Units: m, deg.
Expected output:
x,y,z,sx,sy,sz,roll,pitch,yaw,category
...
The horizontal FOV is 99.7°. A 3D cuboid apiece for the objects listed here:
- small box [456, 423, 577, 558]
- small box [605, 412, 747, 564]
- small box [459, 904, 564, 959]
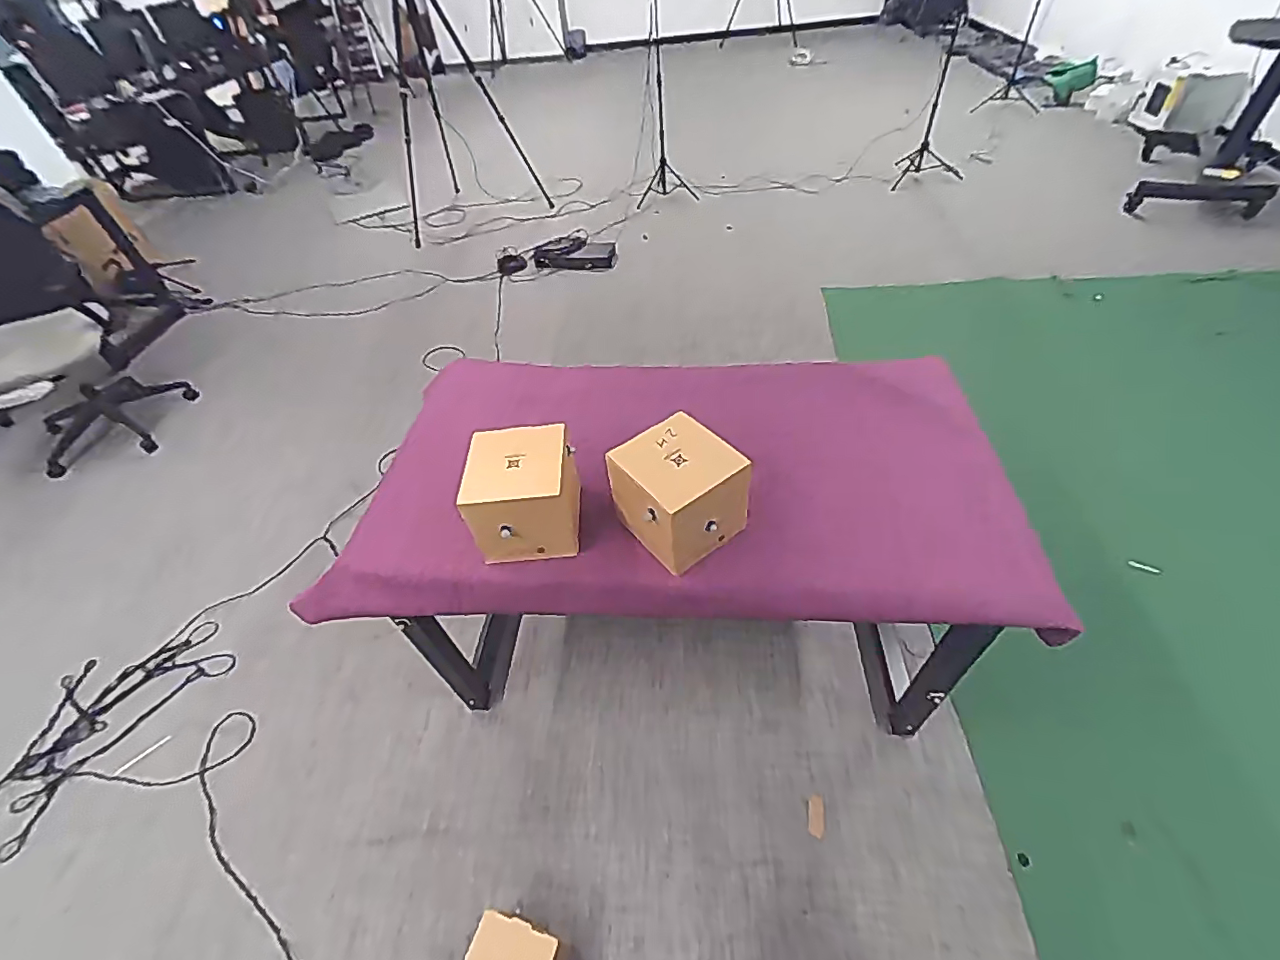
x,y,z,sx,sy,sz,roll,pitch,yaw,category
-0.205,0.024,0.954,0.168,0.176,0.179,-5,45,1,small box
0.062,0.020,0.927,0.168,0.176,0.179,-30,51,-22,small box
-0.262,0.982,1.069,0.168,0.176,0.179,11,50,16,small box
